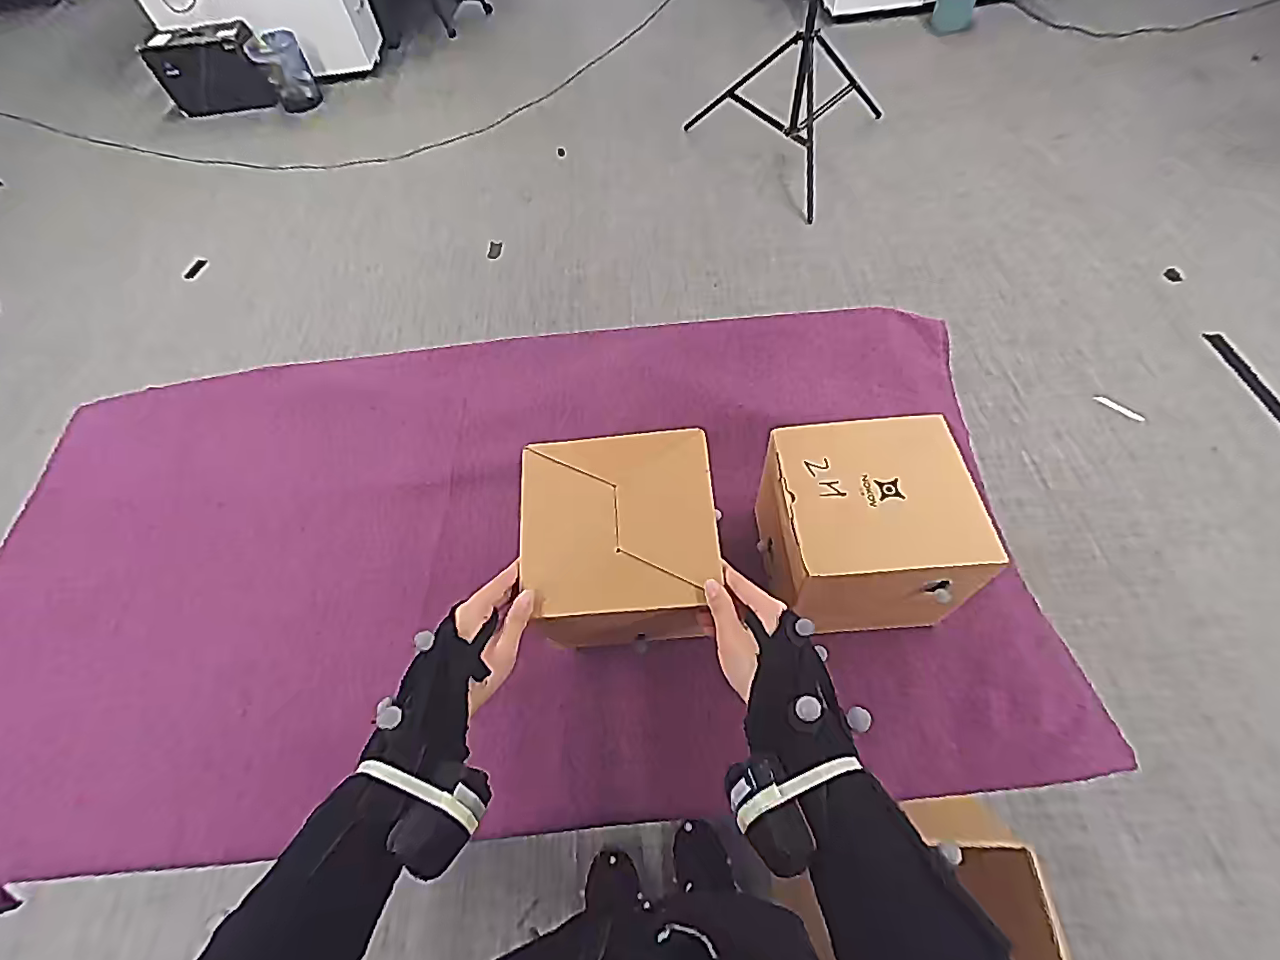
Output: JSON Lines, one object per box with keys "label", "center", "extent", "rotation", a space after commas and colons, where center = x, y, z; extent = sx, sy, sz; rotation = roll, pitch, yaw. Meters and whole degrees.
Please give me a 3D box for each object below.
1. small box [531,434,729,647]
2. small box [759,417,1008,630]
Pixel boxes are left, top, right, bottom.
{"label": "small box", "center": [-0.011, 0.067, 0.556], "extent": [0.179, 0.176, 0.168], "rotation": [-6, 64, 3]}
{"label": "small box", "center": [0.235, 0.052, 0.577], "extent": [0.179, 0.176, 0.168], "rotation": [-4, 56, 2]}
